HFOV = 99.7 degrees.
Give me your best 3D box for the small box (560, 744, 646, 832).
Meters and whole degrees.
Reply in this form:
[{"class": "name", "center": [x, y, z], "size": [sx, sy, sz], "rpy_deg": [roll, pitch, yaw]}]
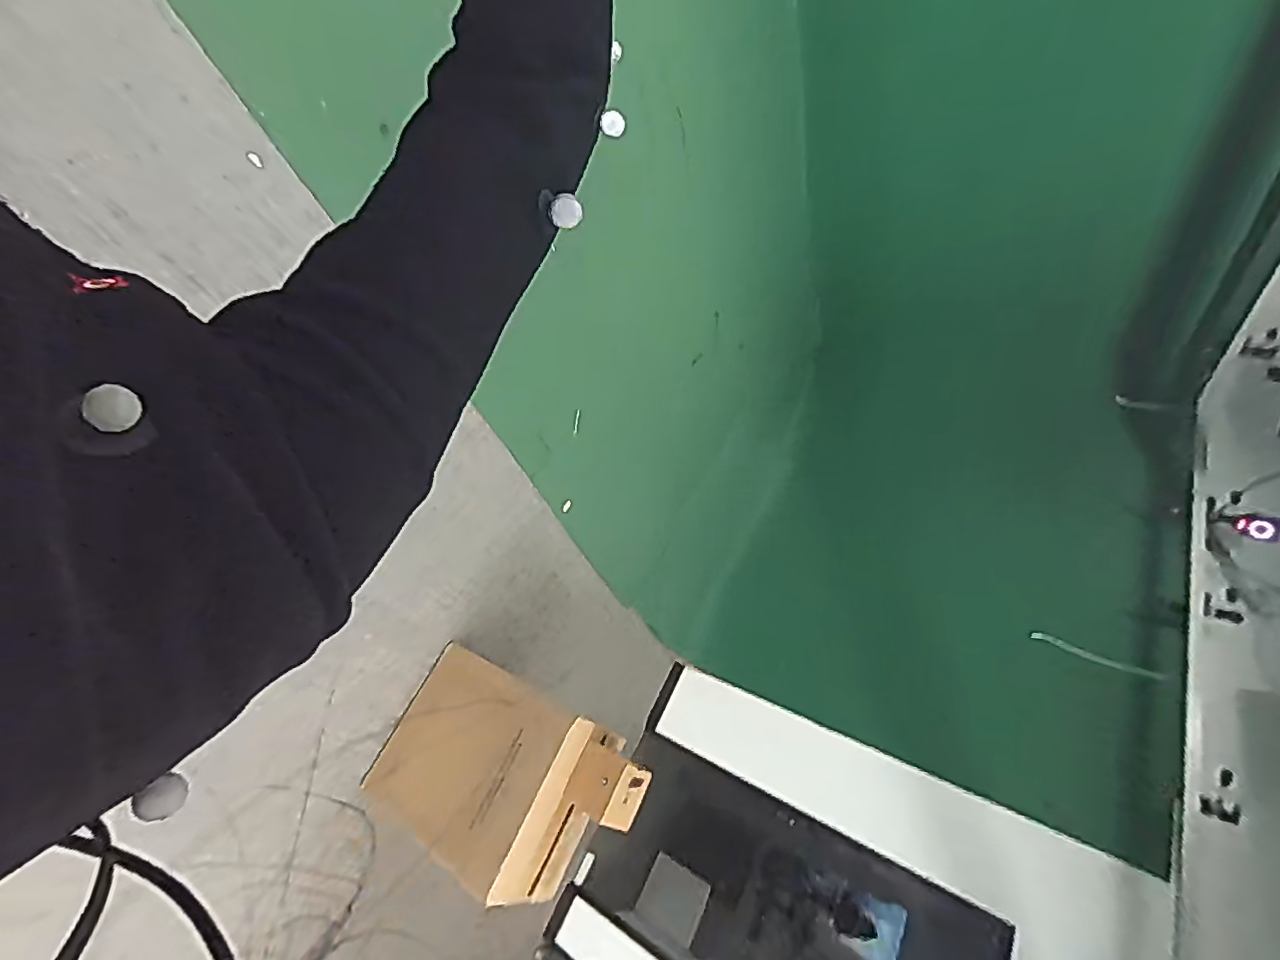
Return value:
[{"class": "small box", "center": [-0.117, 0.956, 1.688], "size": [0.168, 0.176, 0.179], "rpy_deg": [50, 60, -42]}]
